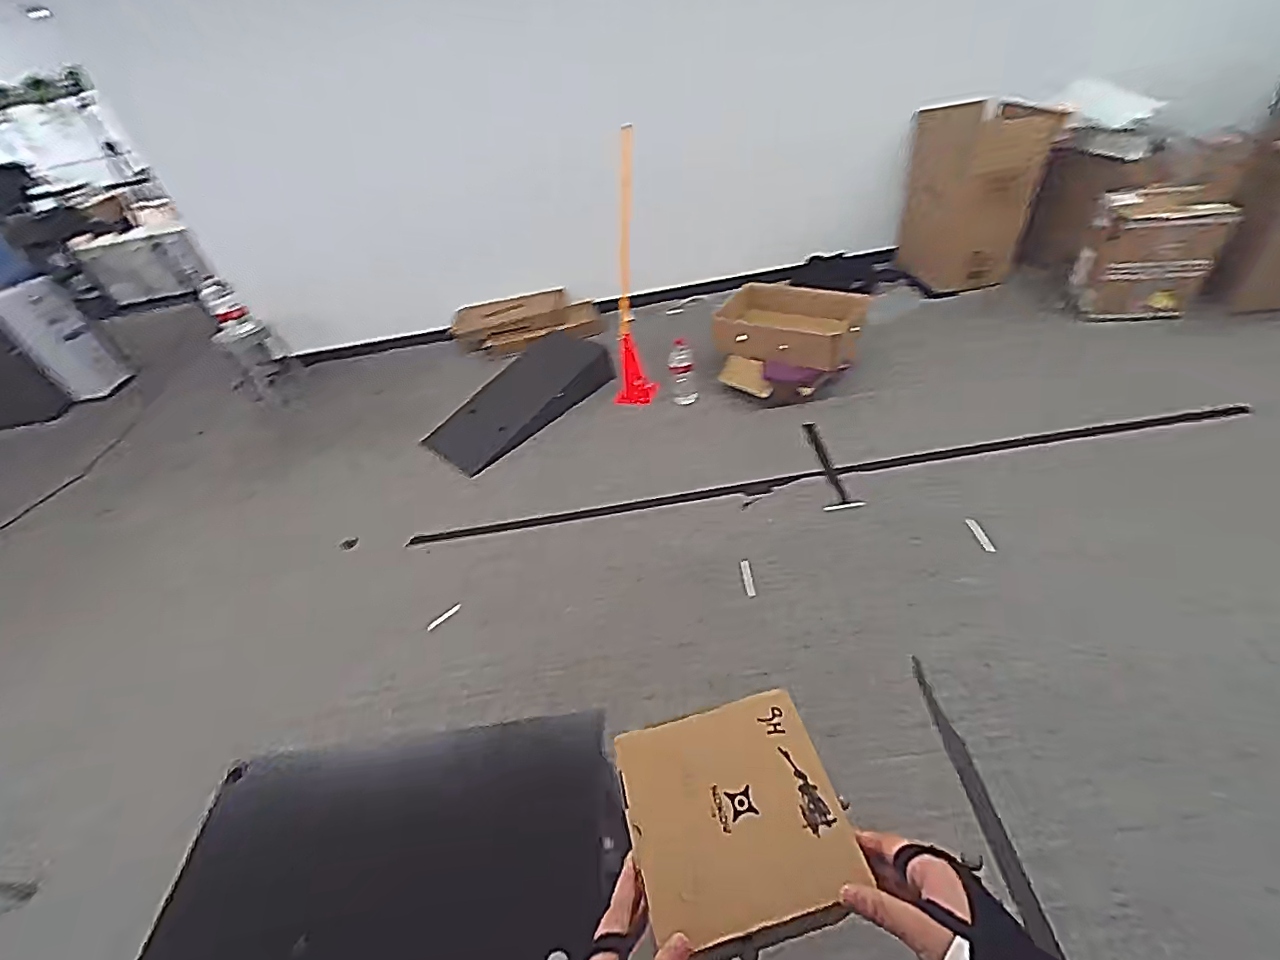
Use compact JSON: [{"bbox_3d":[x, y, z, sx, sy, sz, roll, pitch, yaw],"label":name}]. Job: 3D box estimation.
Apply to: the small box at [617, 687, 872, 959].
[{"bbox_3d":[0.087,0.330,0.515,0.179,0.176,0.168,-13,44,-5],"label":"small box"}]
